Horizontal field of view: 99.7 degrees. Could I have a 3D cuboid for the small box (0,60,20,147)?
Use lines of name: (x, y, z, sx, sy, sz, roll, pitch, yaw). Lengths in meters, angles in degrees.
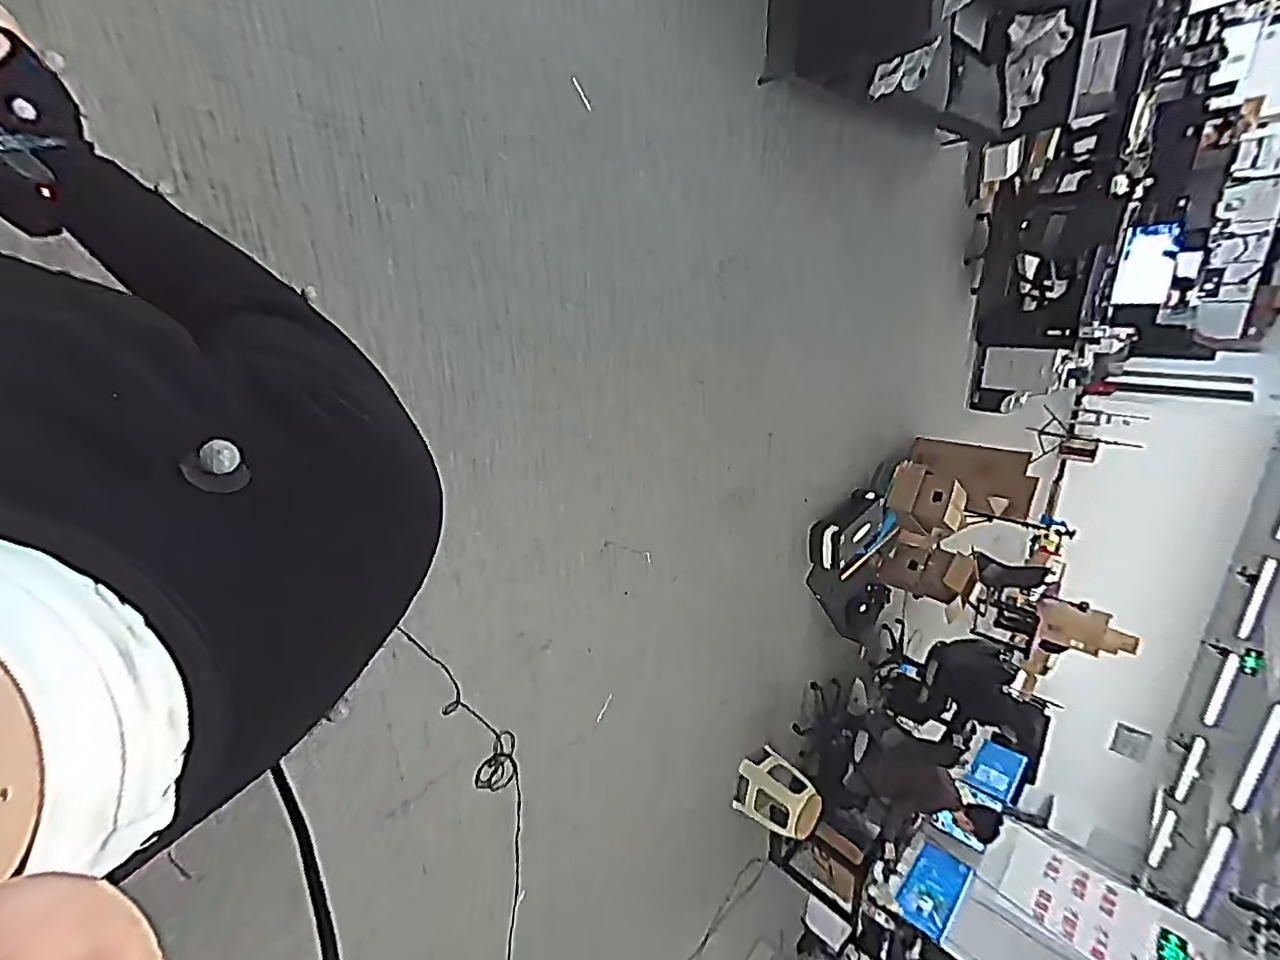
small box: (-0.649, -0.387, 0.429, 0.179, 0.176, 0.168, -18, 108, -39)
